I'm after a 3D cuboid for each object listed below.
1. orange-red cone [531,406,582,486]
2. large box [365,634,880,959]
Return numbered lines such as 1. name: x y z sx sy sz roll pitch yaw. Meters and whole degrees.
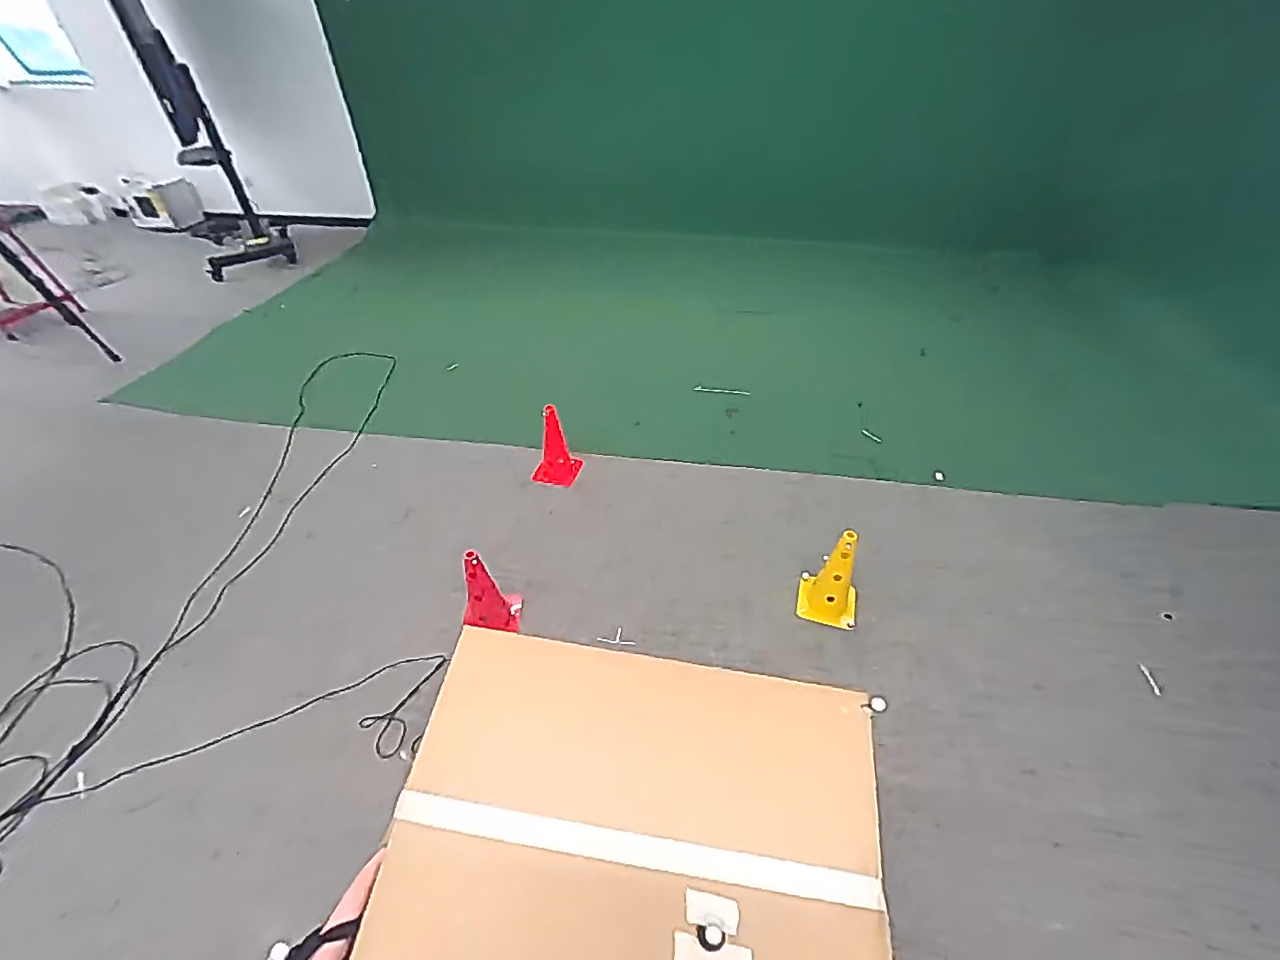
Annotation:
1. orange-red cone: -0.395 -0.172 2.421 0.199 0.360 0.198 10 42 13
2. large box: -0.006 0.389 0.584 0.408 0.320 0.320 8 57 3
